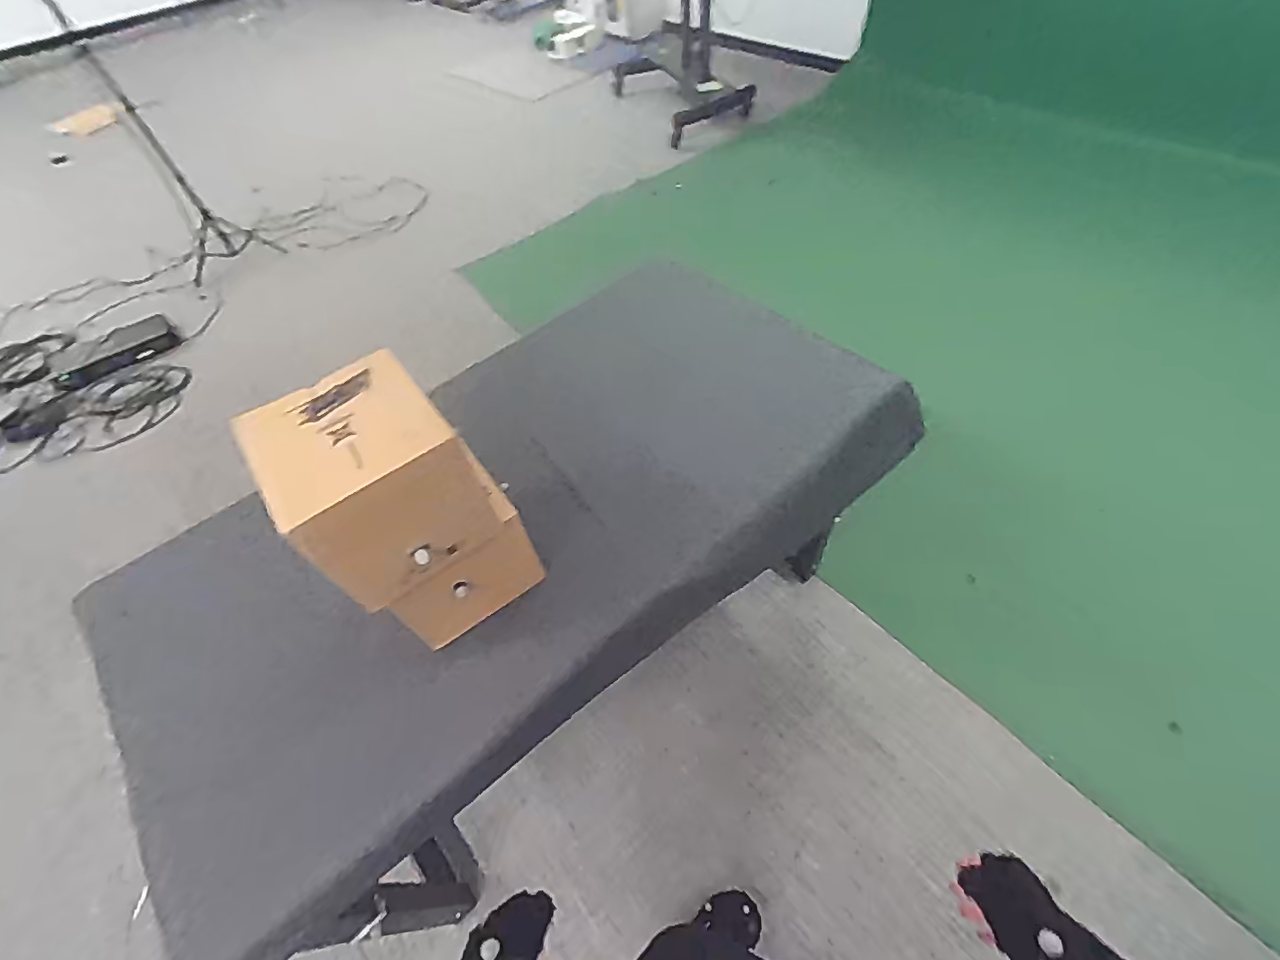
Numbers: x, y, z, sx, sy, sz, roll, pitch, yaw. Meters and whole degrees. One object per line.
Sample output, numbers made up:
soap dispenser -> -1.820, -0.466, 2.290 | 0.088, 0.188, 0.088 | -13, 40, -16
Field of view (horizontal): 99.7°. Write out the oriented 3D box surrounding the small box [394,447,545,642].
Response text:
small box -> -0.253, 0.086, 0.724 | 0.179, 0.176, 0.168 | -34, 57, -17

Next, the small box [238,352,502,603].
small box -> -0.280, -0.001, 0.586 | 0.168, 0.176, 0.179 | -37, 56, -20
